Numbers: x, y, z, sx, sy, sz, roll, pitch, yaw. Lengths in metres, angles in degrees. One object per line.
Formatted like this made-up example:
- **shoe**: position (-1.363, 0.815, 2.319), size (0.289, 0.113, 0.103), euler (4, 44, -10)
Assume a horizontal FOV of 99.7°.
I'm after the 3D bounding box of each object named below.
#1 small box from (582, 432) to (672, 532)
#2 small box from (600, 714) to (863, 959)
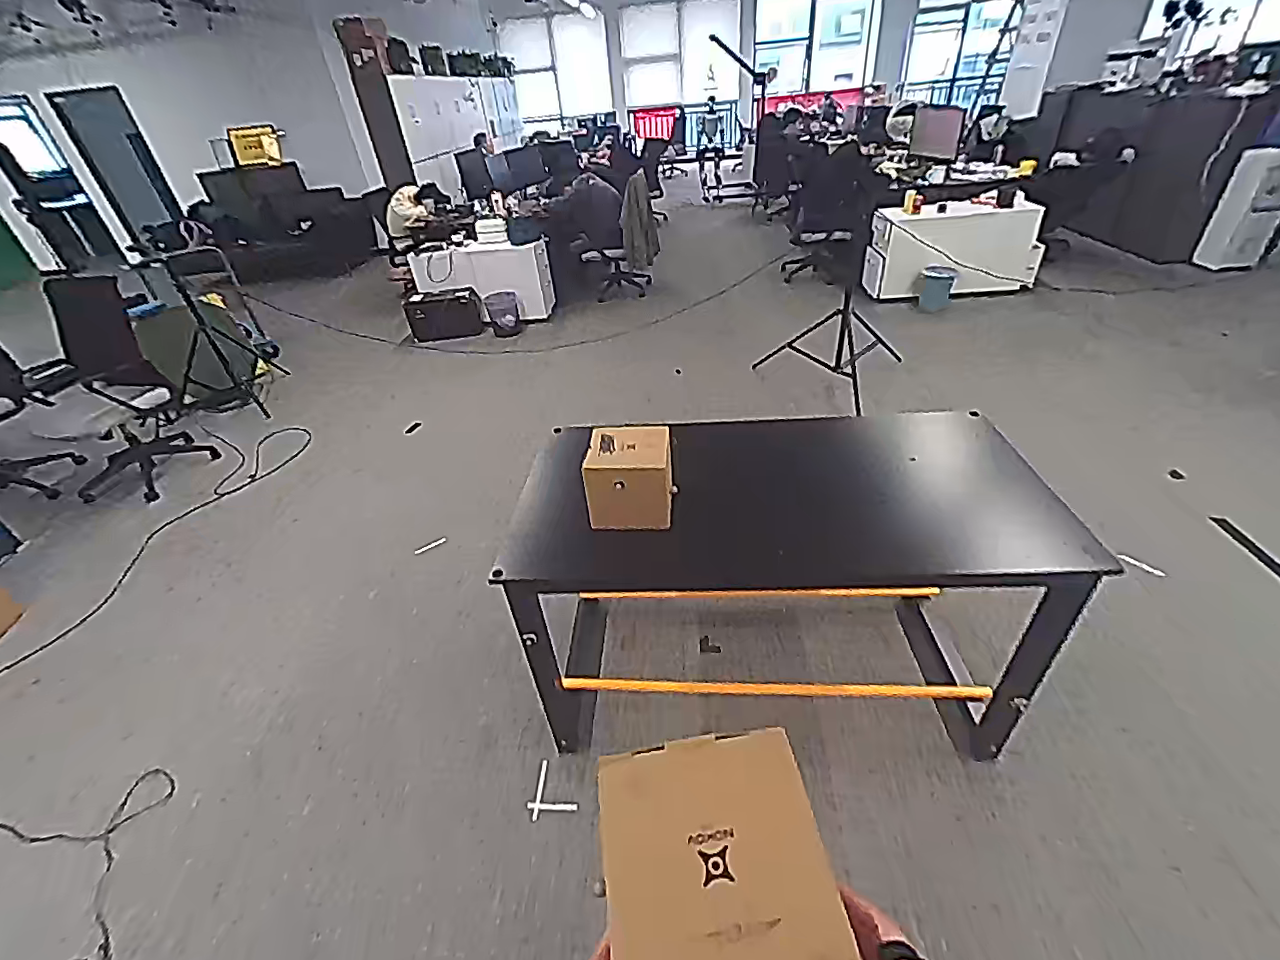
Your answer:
- **small box**: position (-0.023, 0.005, 1.220), size (0.179, 0.176, 0.168), euler (0, 36, 6)
- **small box**: position (0.060, 0.332, 0.460), size (0.168, 0.176, 0.179), euler (-9, 42, -3)
